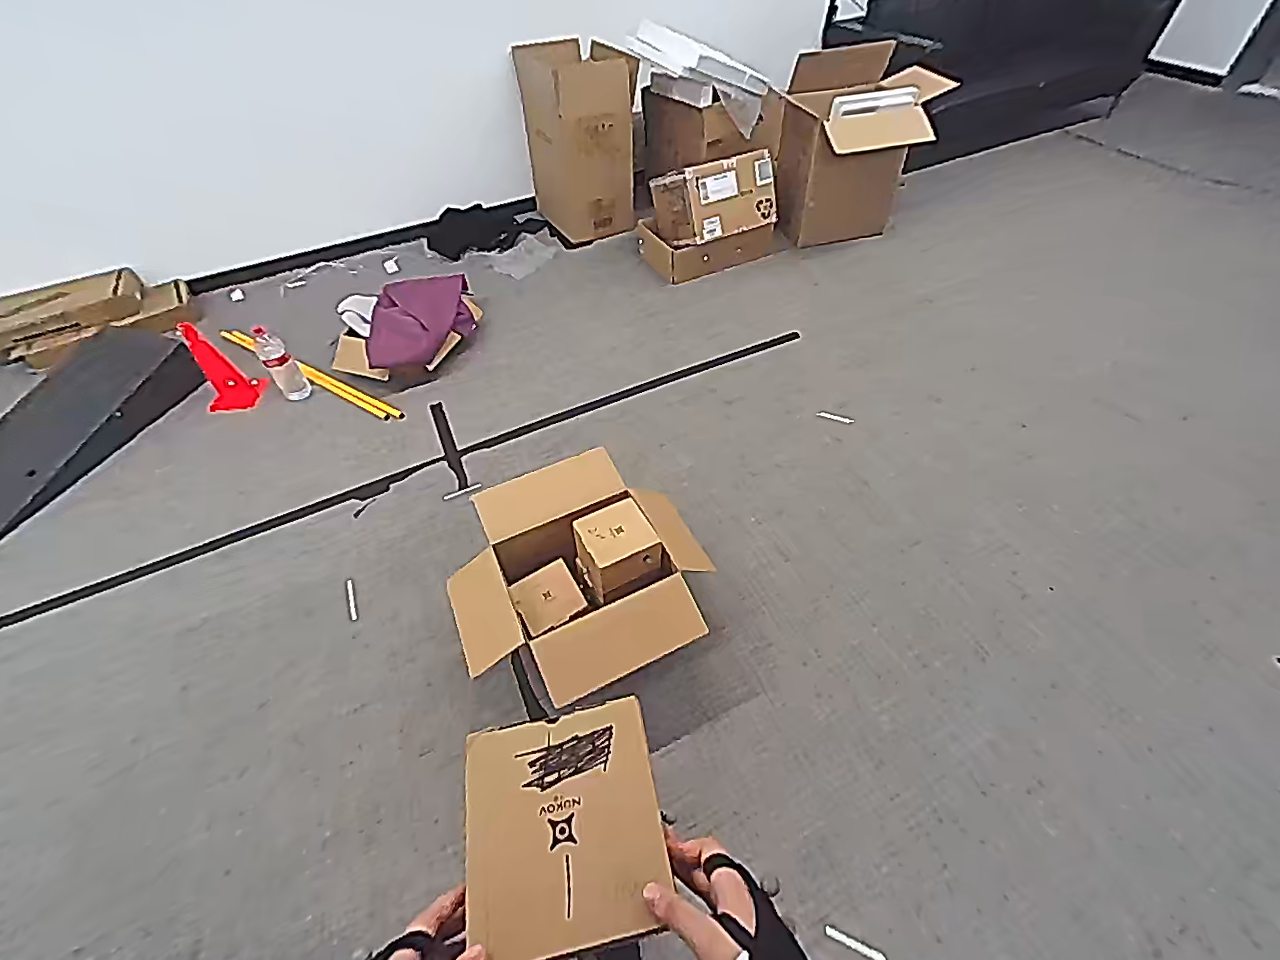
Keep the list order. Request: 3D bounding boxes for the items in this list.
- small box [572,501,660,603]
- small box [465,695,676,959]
[{"bbox_3d":[-0.062,0.192,1.429,0.179,0.176,0.168,-23,52,-17],"label":"small box"},{"bbox_3d":[-0.065,0.341,0.529,0.168,0.176,0.179,-12,50,-5],"label":"small box"}]
